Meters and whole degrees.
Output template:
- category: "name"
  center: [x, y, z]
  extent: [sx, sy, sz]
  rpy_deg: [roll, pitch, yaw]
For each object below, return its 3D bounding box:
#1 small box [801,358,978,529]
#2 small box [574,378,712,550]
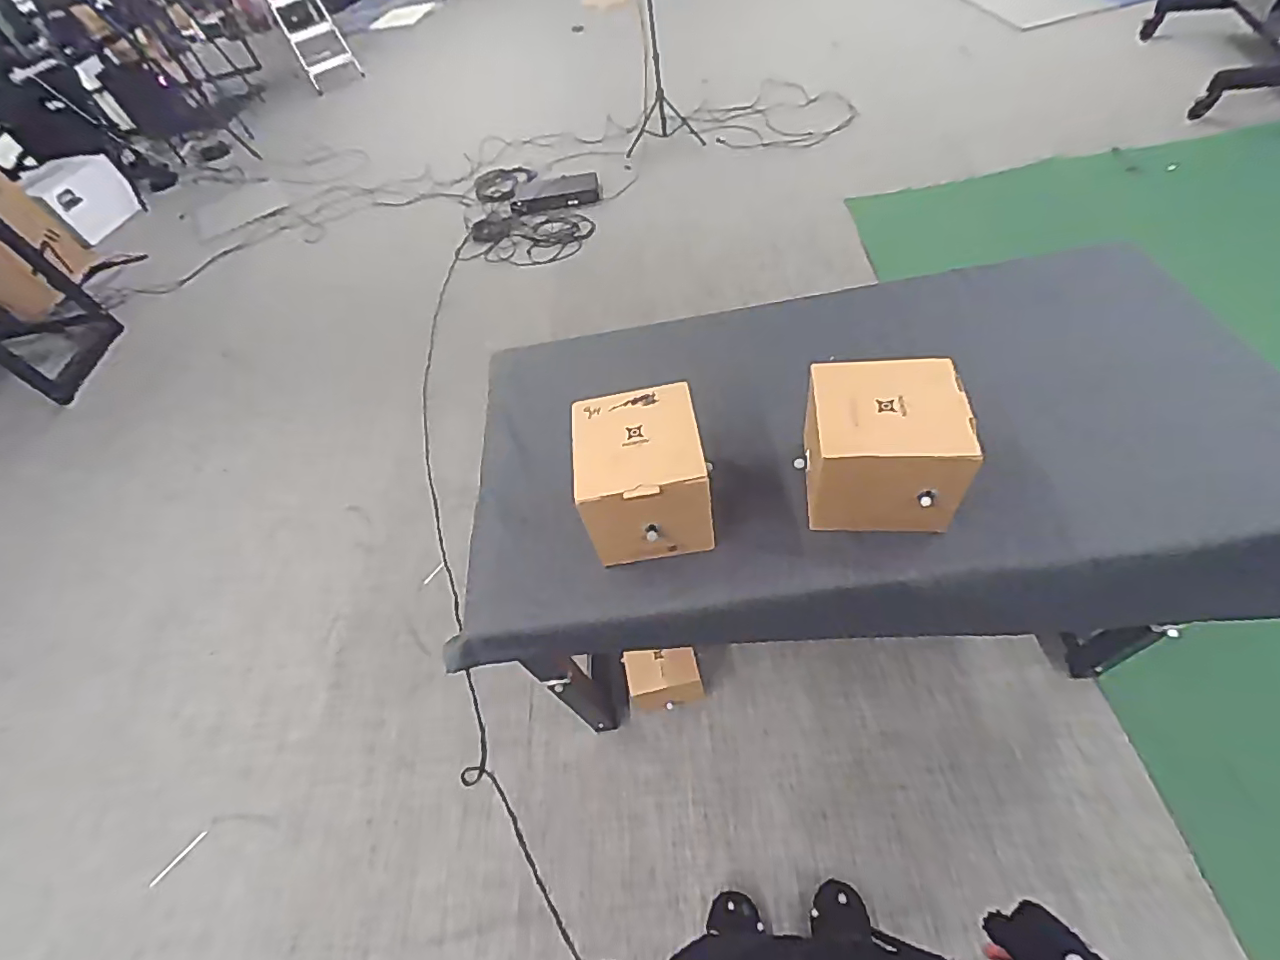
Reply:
- category: "small box"
  center: [0.320, -0.045, 0.735]
  extent: [0.179, 0.176, 0.168]
  rpy_deg: [0, 54, 12]
- category: "small box"
  center: [0.007, -0.013, 0.768]
  extent: [0.168, 0.176, 0.179]
  rpy_deg: [-9, 54, 4]
